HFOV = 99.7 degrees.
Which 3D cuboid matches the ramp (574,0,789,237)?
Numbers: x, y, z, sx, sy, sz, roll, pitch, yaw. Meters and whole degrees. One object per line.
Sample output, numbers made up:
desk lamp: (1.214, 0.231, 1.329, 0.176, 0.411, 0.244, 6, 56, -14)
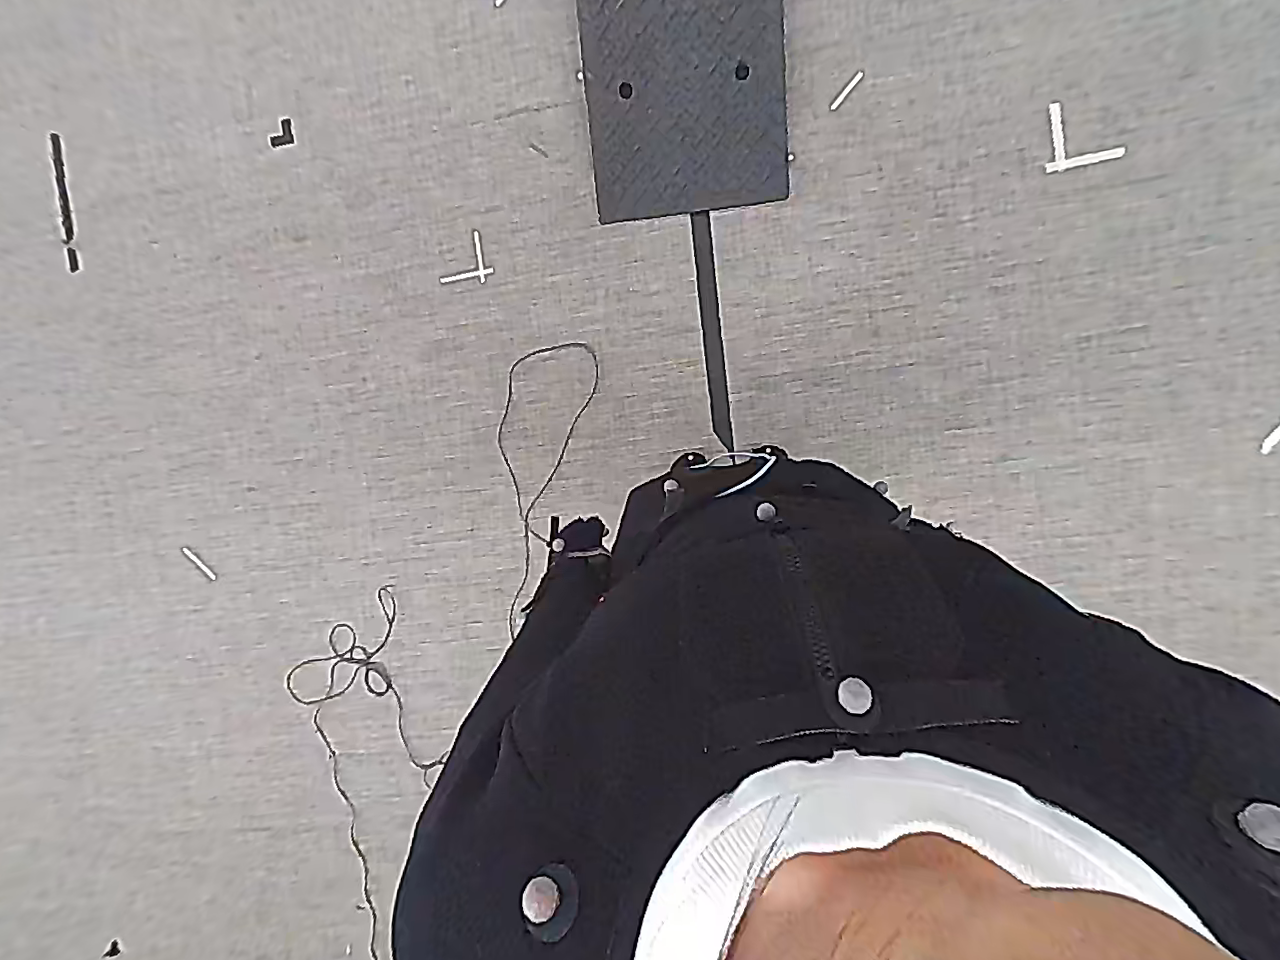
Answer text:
ramp: (0.085, -1.157, 1.317, 0.509, 0.206, 0.991, -7, 92, 7)
